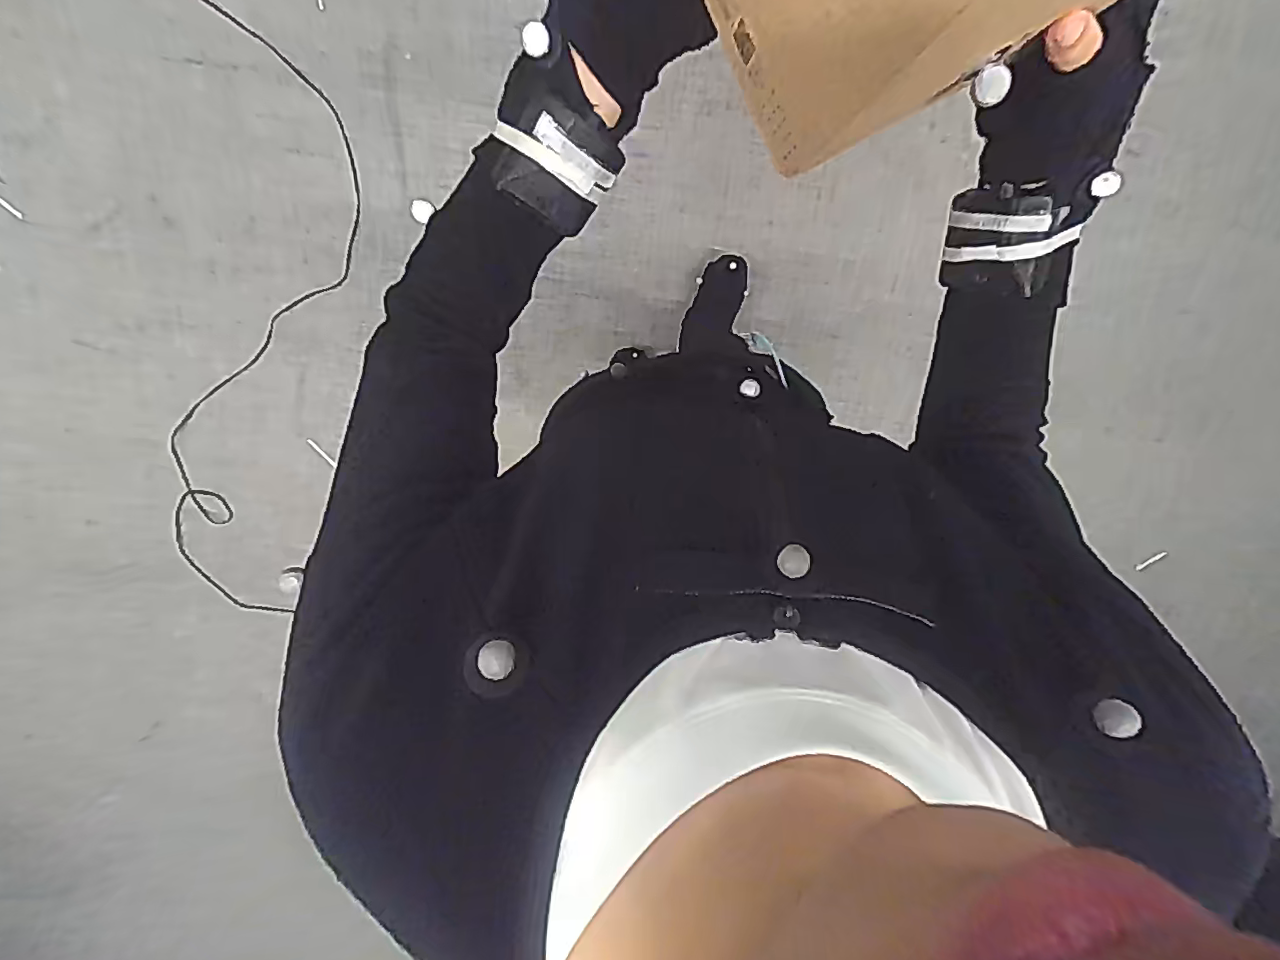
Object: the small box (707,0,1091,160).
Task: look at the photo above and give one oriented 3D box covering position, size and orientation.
[{"bbox_3d":[0.118,-0.251,0.181,0.179,0.176,0.168,-28,103,0],"label":"small box"}]
